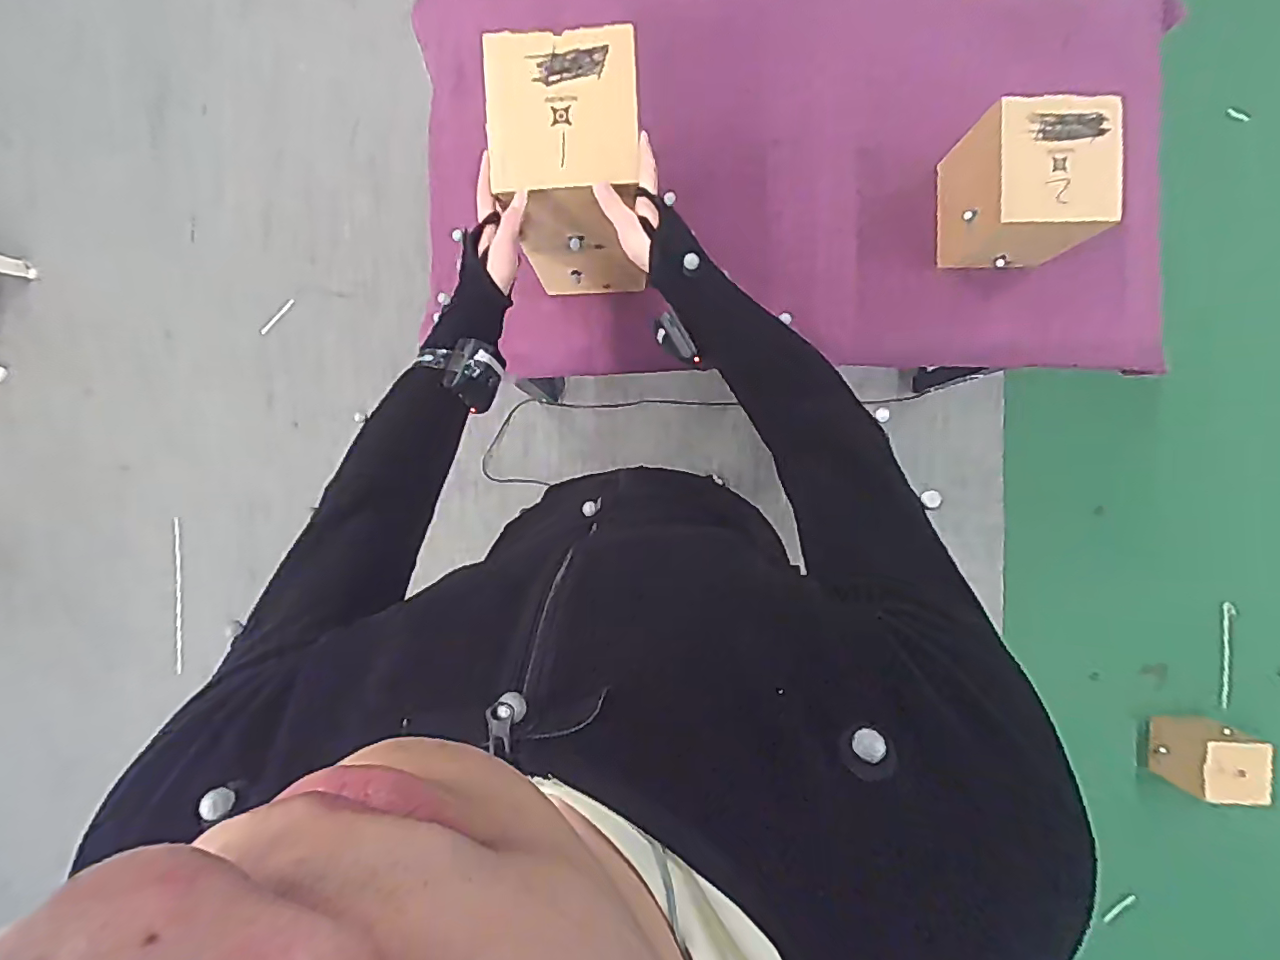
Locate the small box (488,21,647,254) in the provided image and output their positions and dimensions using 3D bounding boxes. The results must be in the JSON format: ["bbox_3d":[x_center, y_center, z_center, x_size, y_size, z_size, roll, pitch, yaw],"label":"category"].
[{"bbox_3d":[-0.077,-0.397,0.653,0.168,0.176,0.179,-3,91,1],"label":"small box"}]

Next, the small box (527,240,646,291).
[{"bbox_3d":[-0.077,-0.400,0.829,0.168,0.176,0.179,-3,89,0],"label":"small box"}]

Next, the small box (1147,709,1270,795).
[{"bbox_3d":[1.607,0.765,1.534,0.179,0.176,0.168,1,90,1],"label":"small box"}]
